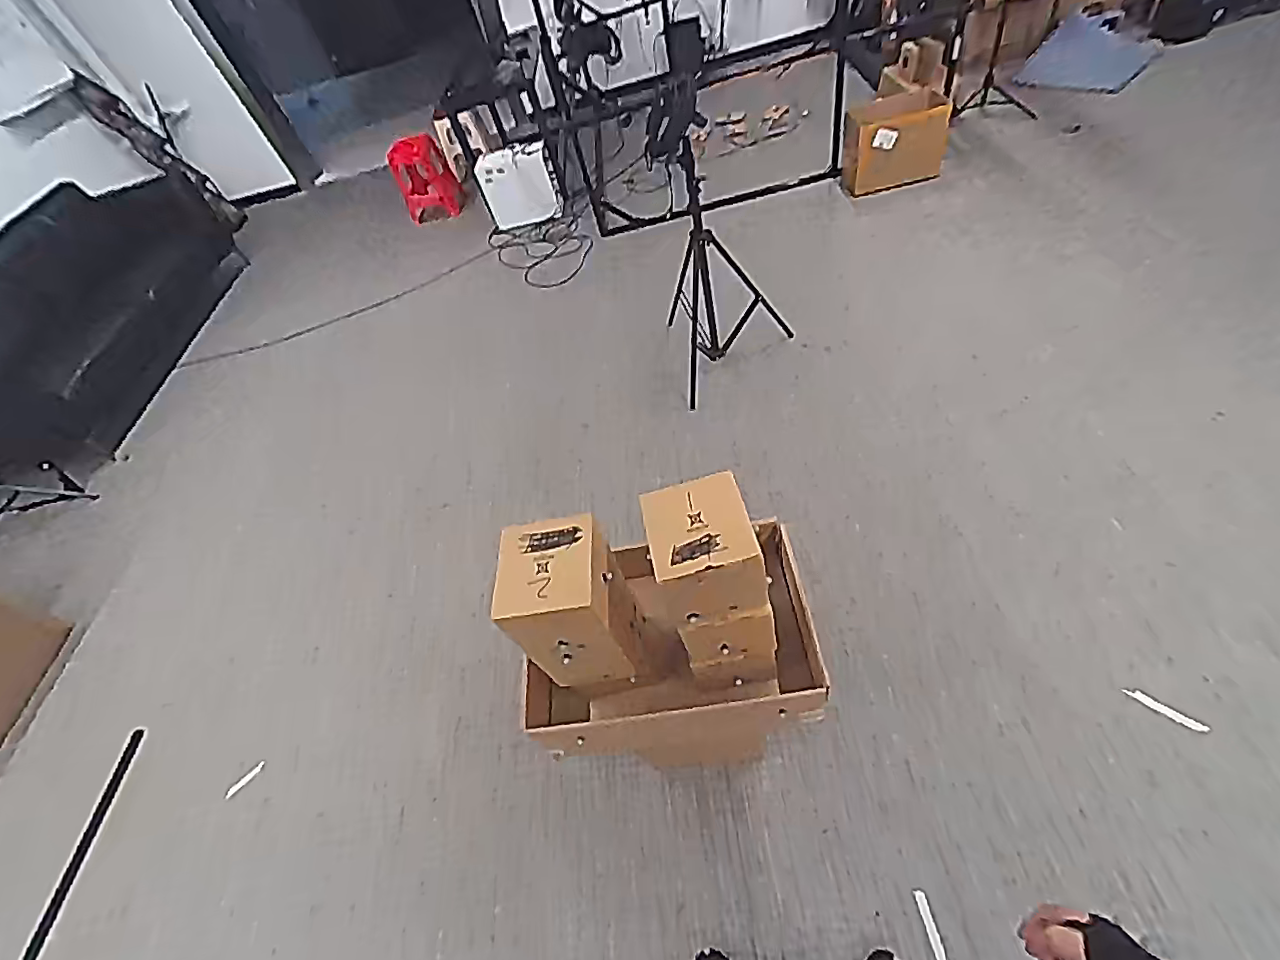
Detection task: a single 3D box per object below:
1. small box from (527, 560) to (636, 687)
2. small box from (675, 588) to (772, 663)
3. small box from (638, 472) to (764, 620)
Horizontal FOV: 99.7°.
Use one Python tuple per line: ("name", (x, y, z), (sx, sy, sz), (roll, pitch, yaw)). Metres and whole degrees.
("small box", (-0.108, 0.286, 1.067), (0.168, 0.176, 0.179), (-12, 49, 9))
("small box", (0.151, 0.228, 1.037), (0.168, 0.176, 0.179), (-14, 51, 6))
("small box", (0.106, 0.120, 0.920), (0.168, 0.176, 0.179), (-16, 49, 4))
